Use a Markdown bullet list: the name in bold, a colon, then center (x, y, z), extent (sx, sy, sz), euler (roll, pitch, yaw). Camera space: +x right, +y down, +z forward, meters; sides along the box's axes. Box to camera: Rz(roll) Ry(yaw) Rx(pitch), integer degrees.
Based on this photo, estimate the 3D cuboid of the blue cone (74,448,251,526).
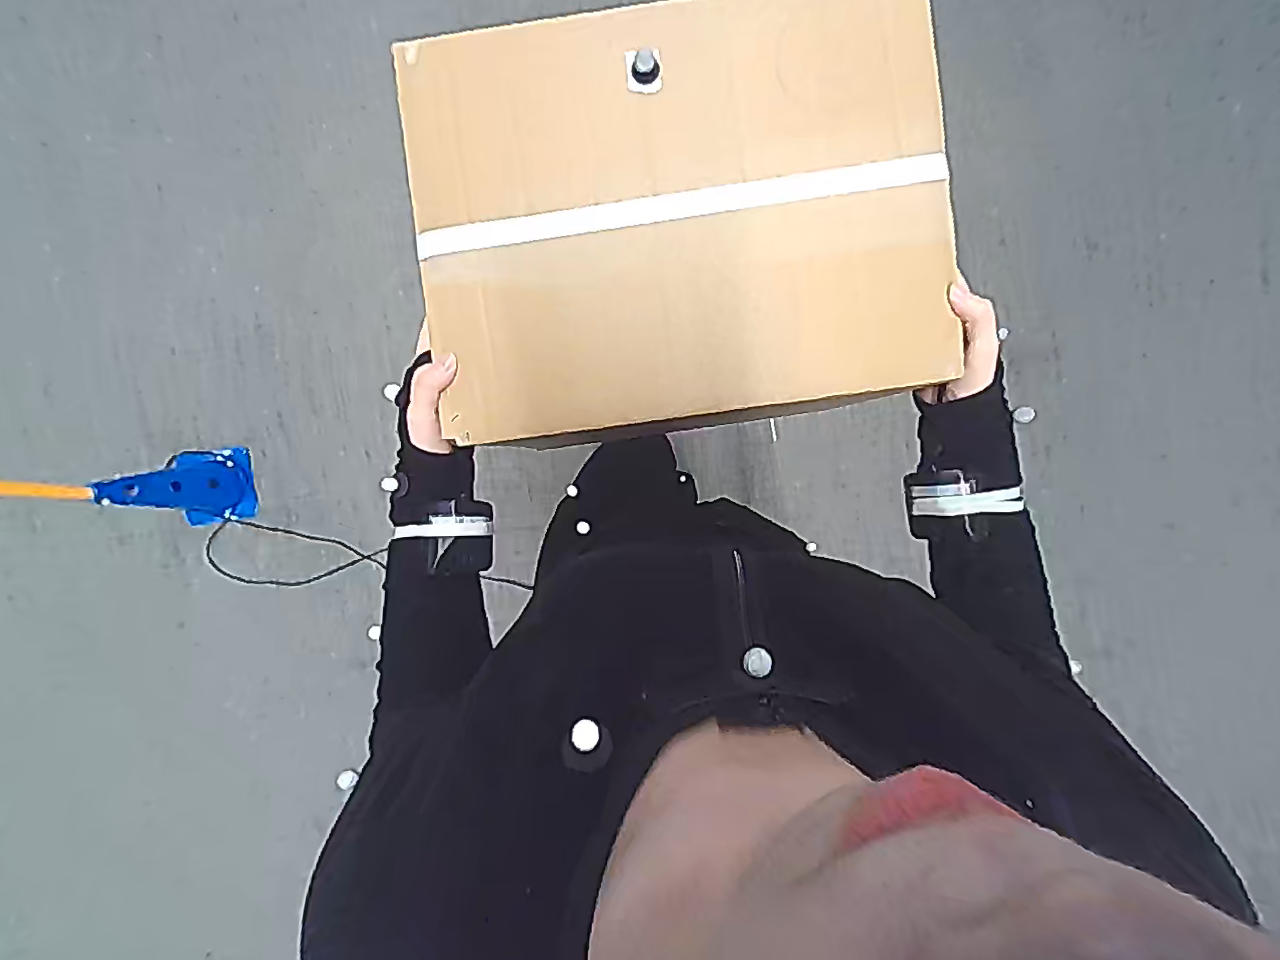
- **blue cone**: center (-1.157, 0.022, 1.294), extent (0.192, 0.380, 0.193), euler (-11, 91, -1)
